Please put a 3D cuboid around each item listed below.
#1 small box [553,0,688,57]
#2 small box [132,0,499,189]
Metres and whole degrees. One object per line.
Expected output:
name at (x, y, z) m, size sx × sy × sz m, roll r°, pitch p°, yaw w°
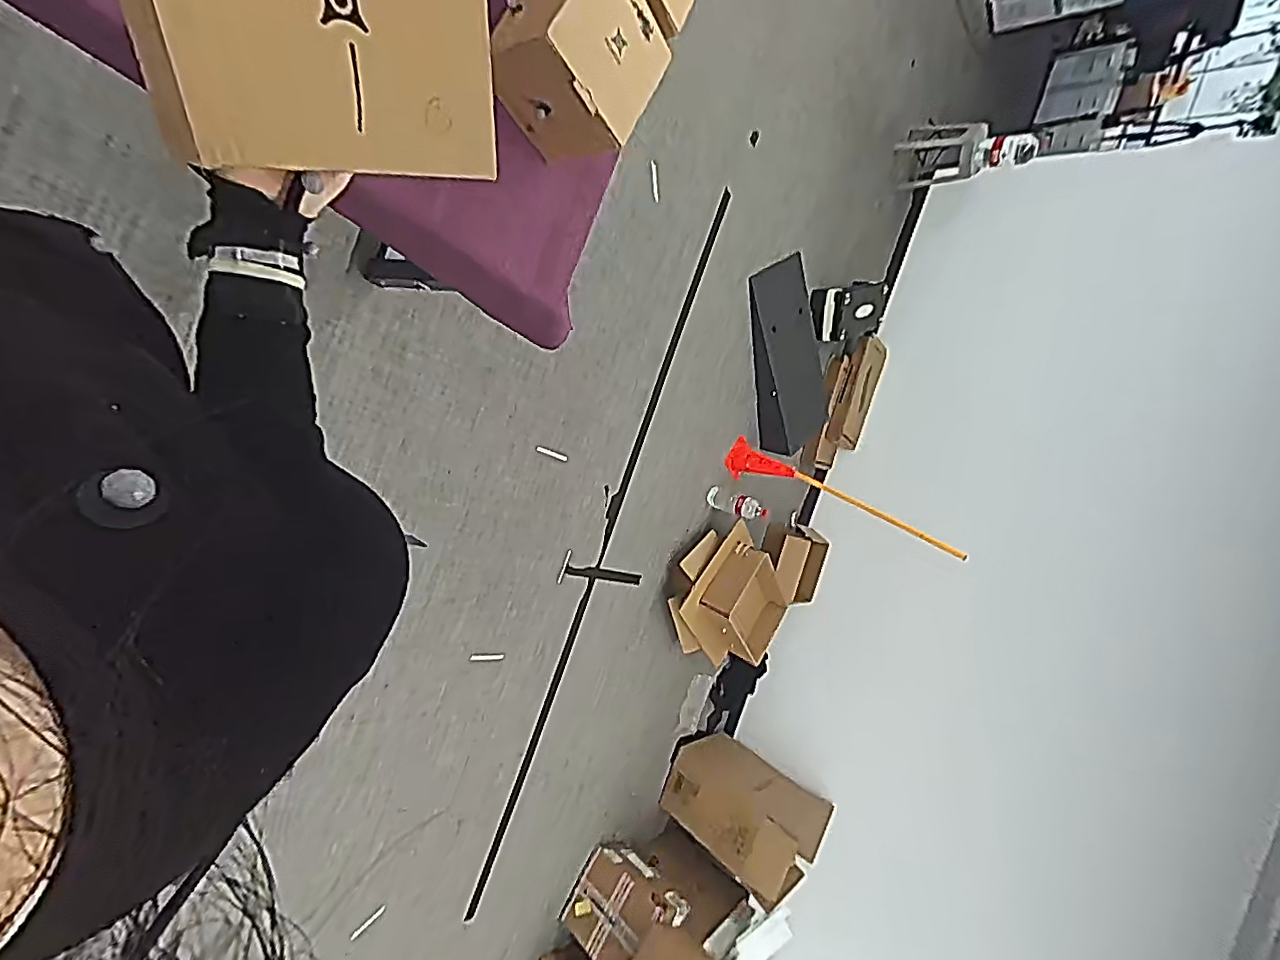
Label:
small box at (-0.027, -0.772, 0.783) m, size 0.168 × 0.176 × 0.179 m, roll 28°, pitch 83°, yaw -52°
small box at (-0.207, -0.289, 0.339) m, size 0.168 × 0.176 × 0.179 m, roll -21°, pitch 128°, yaw -36°
